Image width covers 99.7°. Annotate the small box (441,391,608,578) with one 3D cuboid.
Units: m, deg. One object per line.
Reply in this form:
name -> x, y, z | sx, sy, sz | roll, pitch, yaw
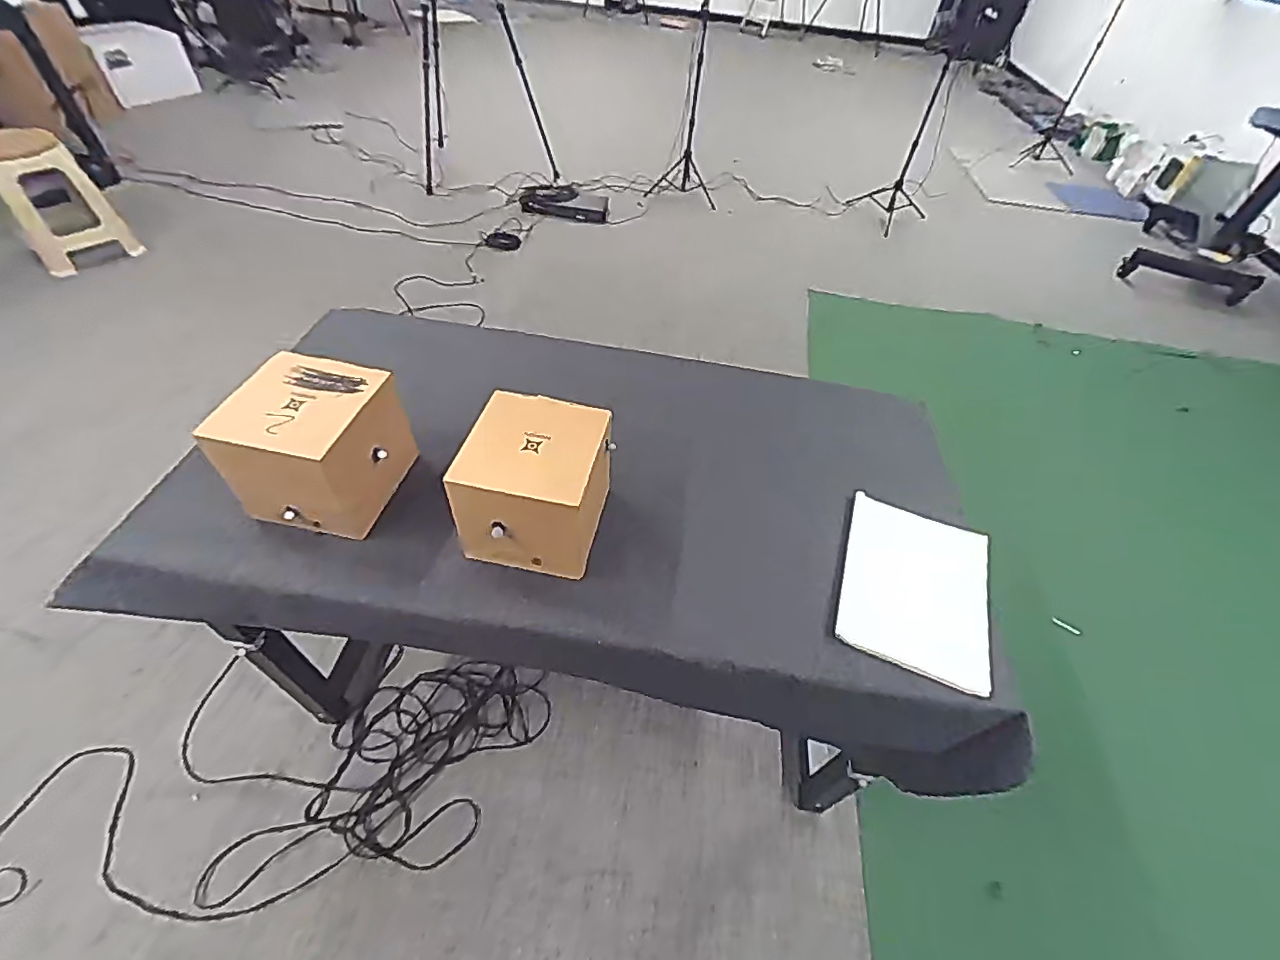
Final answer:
small box -> -0.140, 0.009, 0.729 | 0.168, 0.176, 0.179 | 11, 48, 4
